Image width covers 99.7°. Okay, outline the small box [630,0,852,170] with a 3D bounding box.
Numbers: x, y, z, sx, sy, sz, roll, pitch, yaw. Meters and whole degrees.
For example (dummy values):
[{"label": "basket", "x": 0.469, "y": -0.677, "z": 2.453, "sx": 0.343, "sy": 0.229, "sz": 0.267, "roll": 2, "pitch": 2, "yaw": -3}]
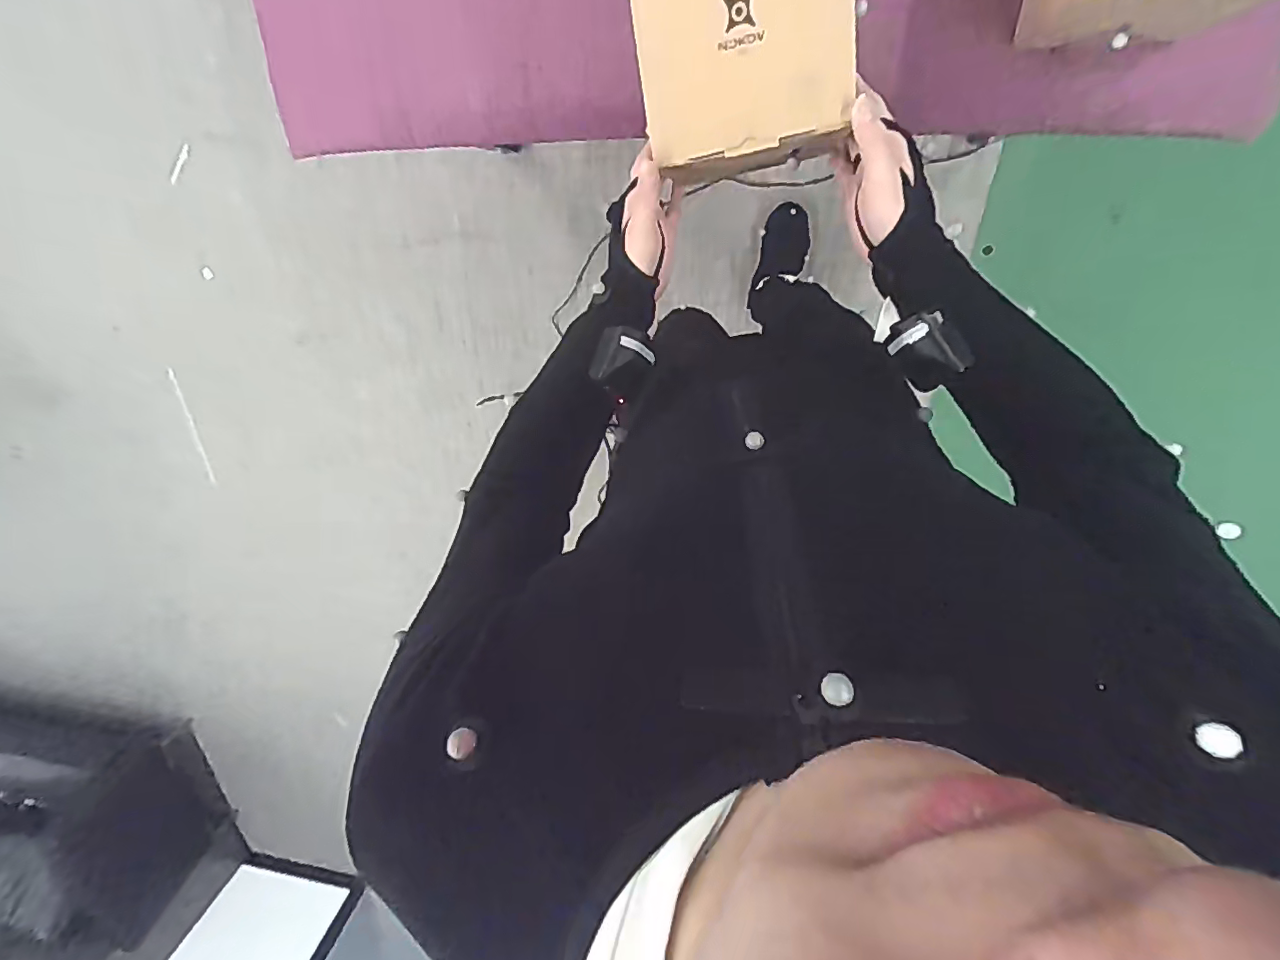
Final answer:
[{"label": "small box", "x": 0.092, "y": -0.389, "z": 0.480, "sx": 0.168, "sy": 0.176, "sz": 0.179, "roll": -4, "pitch": 113, "yaw": 15}]
